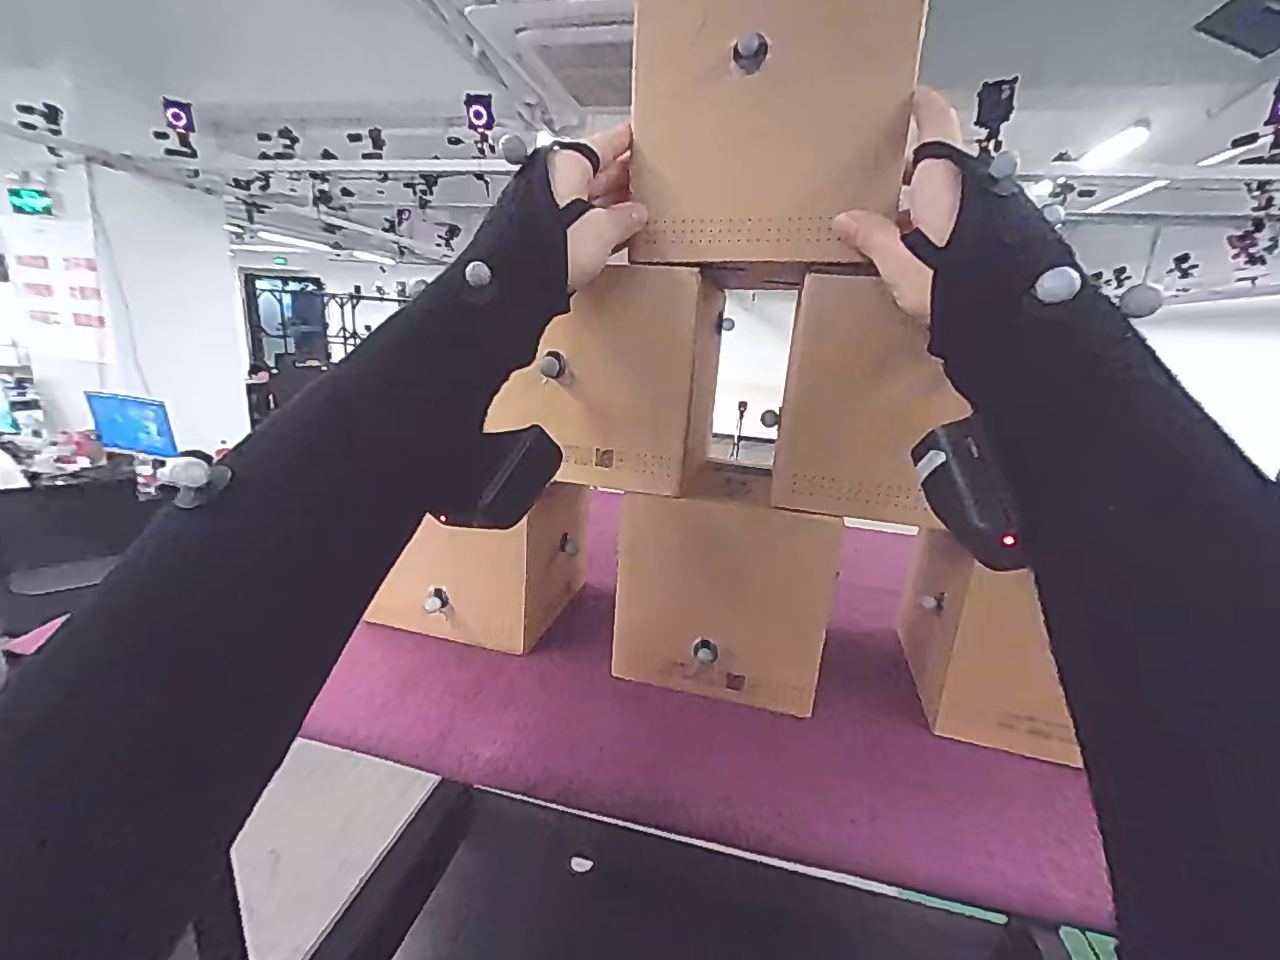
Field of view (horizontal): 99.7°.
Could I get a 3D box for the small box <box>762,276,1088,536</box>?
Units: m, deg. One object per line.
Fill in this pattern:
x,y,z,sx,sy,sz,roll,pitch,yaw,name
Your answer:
0.202,-0.062,0.437,0.179,0.176,0.168,7,14,14,small box

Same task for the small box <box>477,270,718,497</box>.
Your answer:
-0.027,-0.088,0.488,0.168,0.176,0.179,7,14,14,small box

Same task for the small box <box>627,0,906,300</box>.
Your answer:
0.092,-0.238,0.424,0.179,0.176,0.168,5,14,13,small box

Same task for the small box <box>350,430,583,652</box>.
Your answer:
-0.162,0.053,0.557,0.179,0.176,0.168,8,15,12,small box
